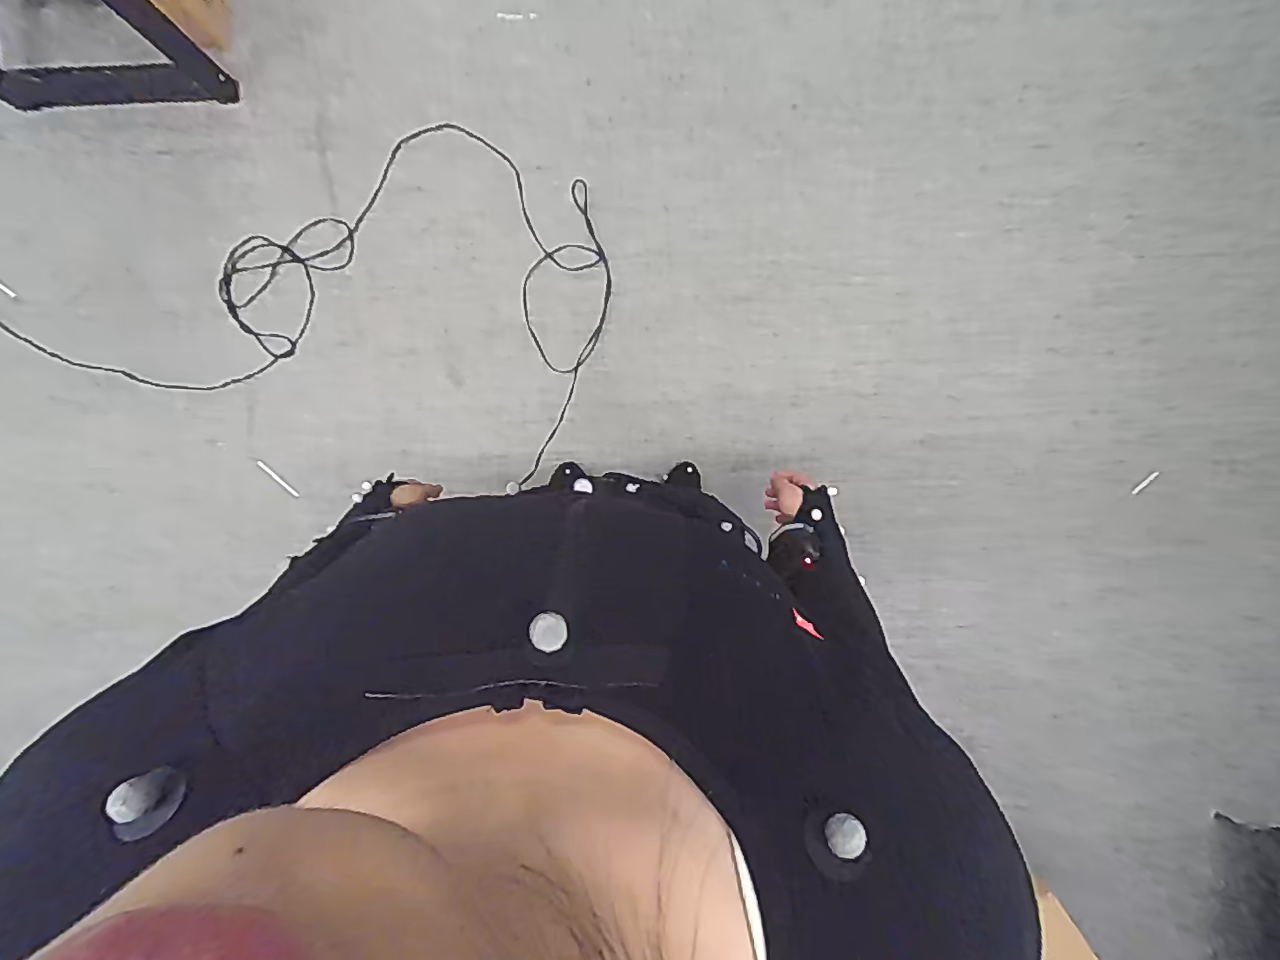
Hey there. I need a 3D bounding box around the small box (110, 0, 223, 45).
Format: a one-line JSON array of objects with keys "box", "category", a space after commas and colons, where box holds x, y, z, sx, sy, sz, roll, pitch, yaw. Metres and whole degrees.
[{"box": [-1.165, -1.214, 1.327, 0.179, 0.176, 0.168, 2, 93, -2], "category": "small box"}]
